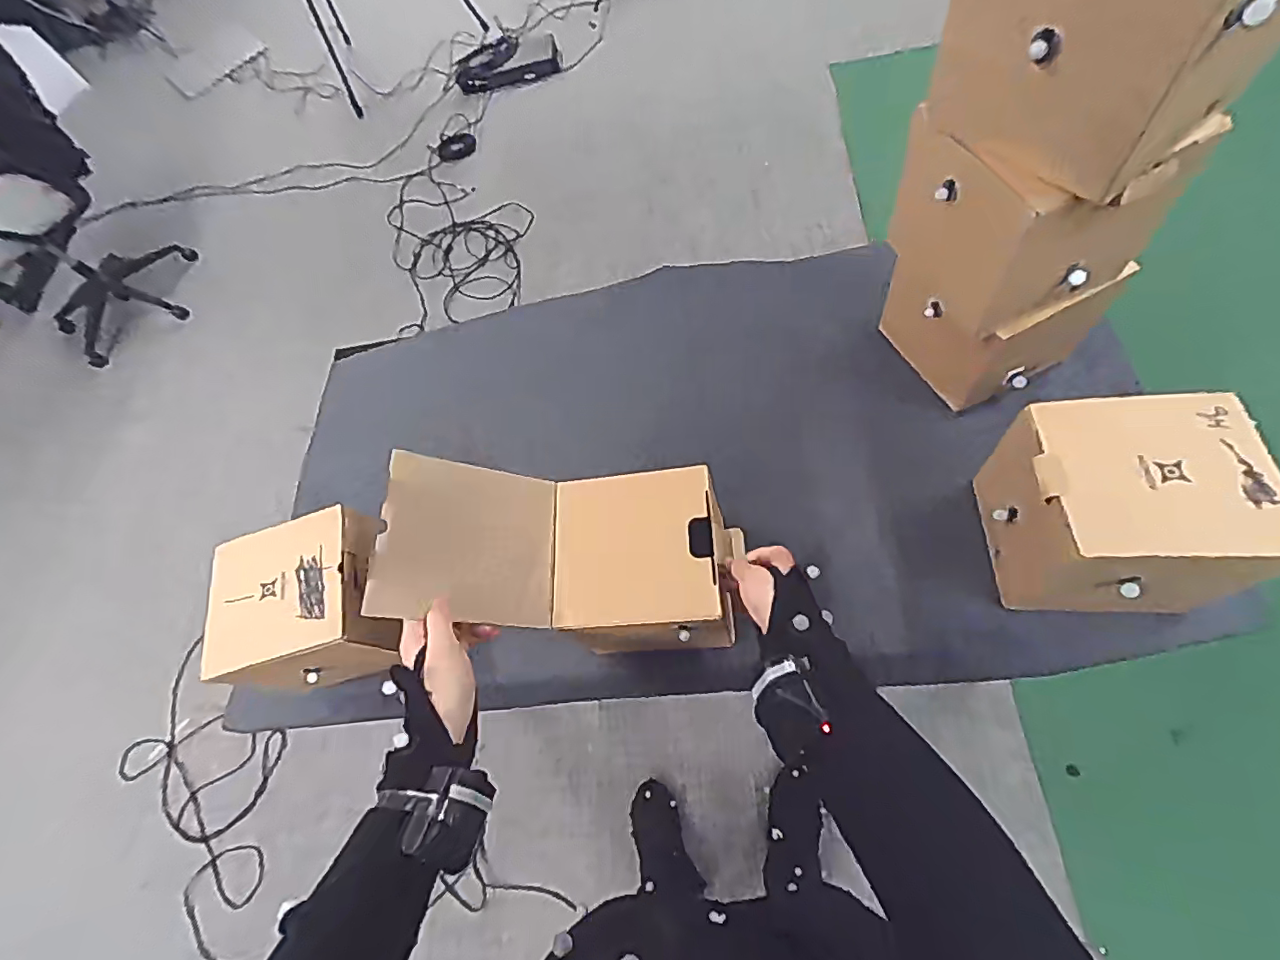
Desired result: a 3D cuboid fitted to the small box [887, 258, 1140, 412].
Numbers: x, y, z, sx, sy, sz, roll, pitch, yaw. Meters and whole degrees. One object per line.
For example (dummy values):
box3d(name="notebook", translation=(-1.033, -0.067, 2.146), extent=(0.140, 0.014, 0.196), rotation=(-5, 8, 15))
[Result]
box3d(name="small box", translation=(0.441, -0.219, 0.680), extent=(0.168, 0.176, 0.179), rotation=(-28, 65, 2))

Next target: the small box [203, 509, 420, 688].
box3d(name="small box", translation=(-0.399, 0.159, 0.692), extent=(0.179, 0.176, 0.168), rotation=(-17, 64, 5))

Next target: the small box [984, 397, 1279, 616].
box3d(name="small box", translation=(0.478, 0.036, 0.549), extent=(0.179, 0.176, 0.168), rotation=(-2, 61, 13))

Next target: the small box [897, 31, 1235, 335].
box3d(name="small box", translation=(0.384, -0.281, 0.537), extent=(0.168, 0.176, 0.179), rotation=(-24, 63, 4))
